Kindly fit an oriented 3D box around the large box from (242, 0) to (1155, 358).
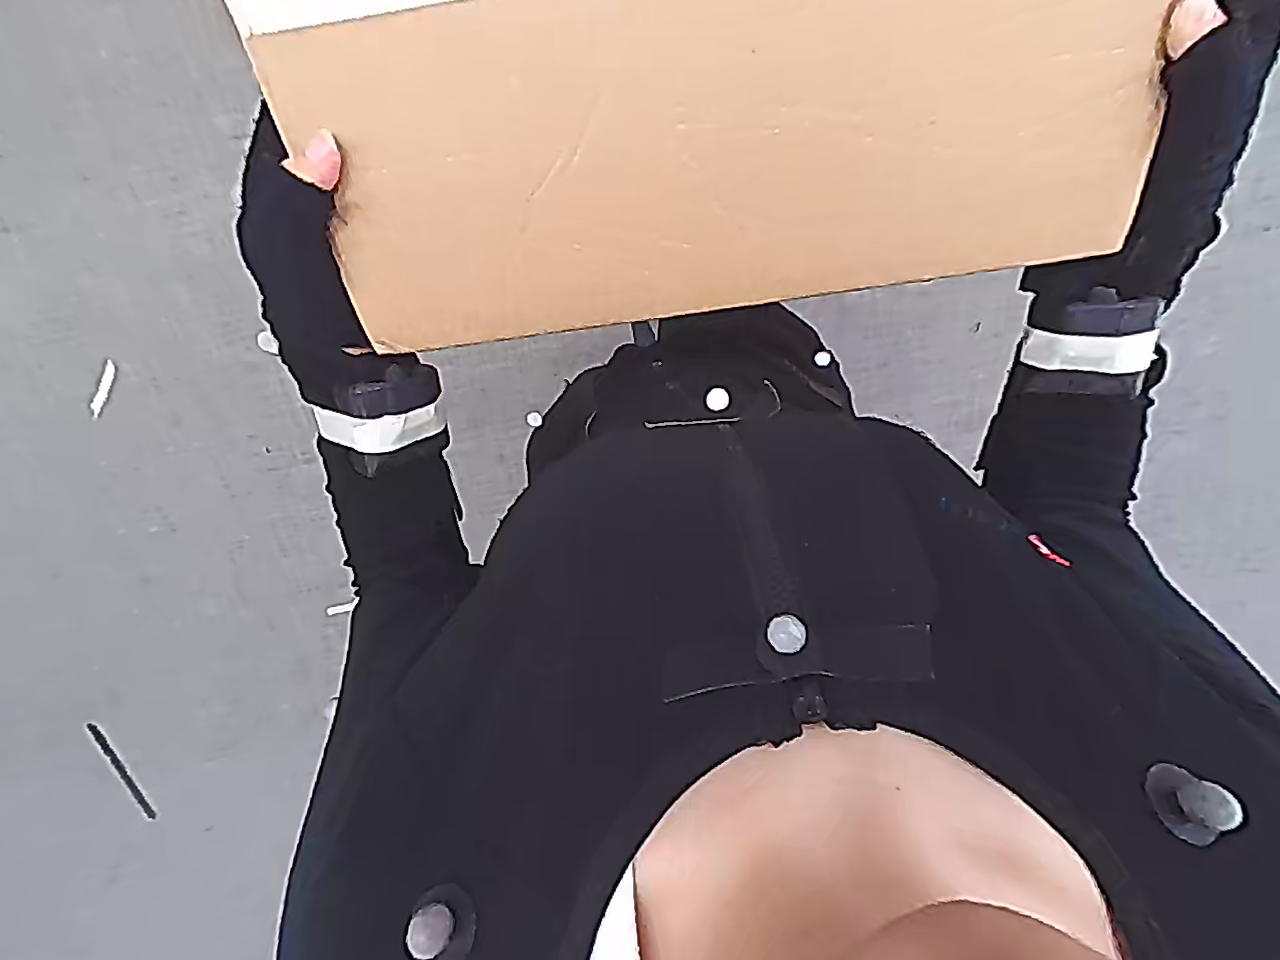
[{"bbox_3d":[0.025,-0.306,0.350,0.408,0.320,0.320,-7,122,4],"label":"large box"}]
